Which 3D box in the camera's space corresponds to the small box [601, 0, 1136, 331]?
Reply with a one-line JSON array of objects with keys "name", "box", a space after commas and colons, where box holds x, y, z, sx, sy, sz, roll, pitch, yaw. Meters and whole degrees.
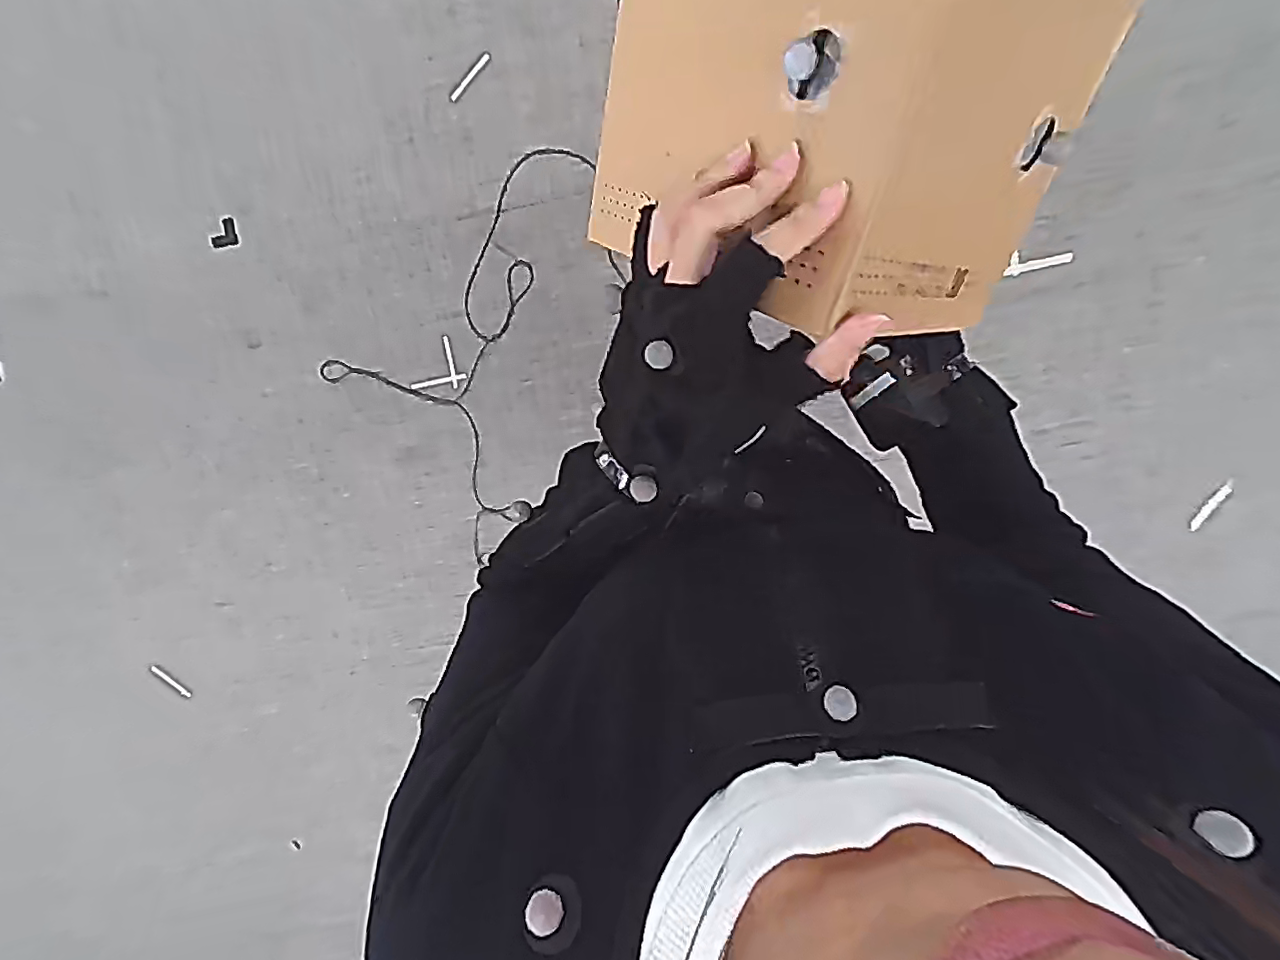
[{"name": "small box", "box": [0.100, -0.185, 0.286, 0.168, 0.179, 0.176, -13, 129, -37]}]
